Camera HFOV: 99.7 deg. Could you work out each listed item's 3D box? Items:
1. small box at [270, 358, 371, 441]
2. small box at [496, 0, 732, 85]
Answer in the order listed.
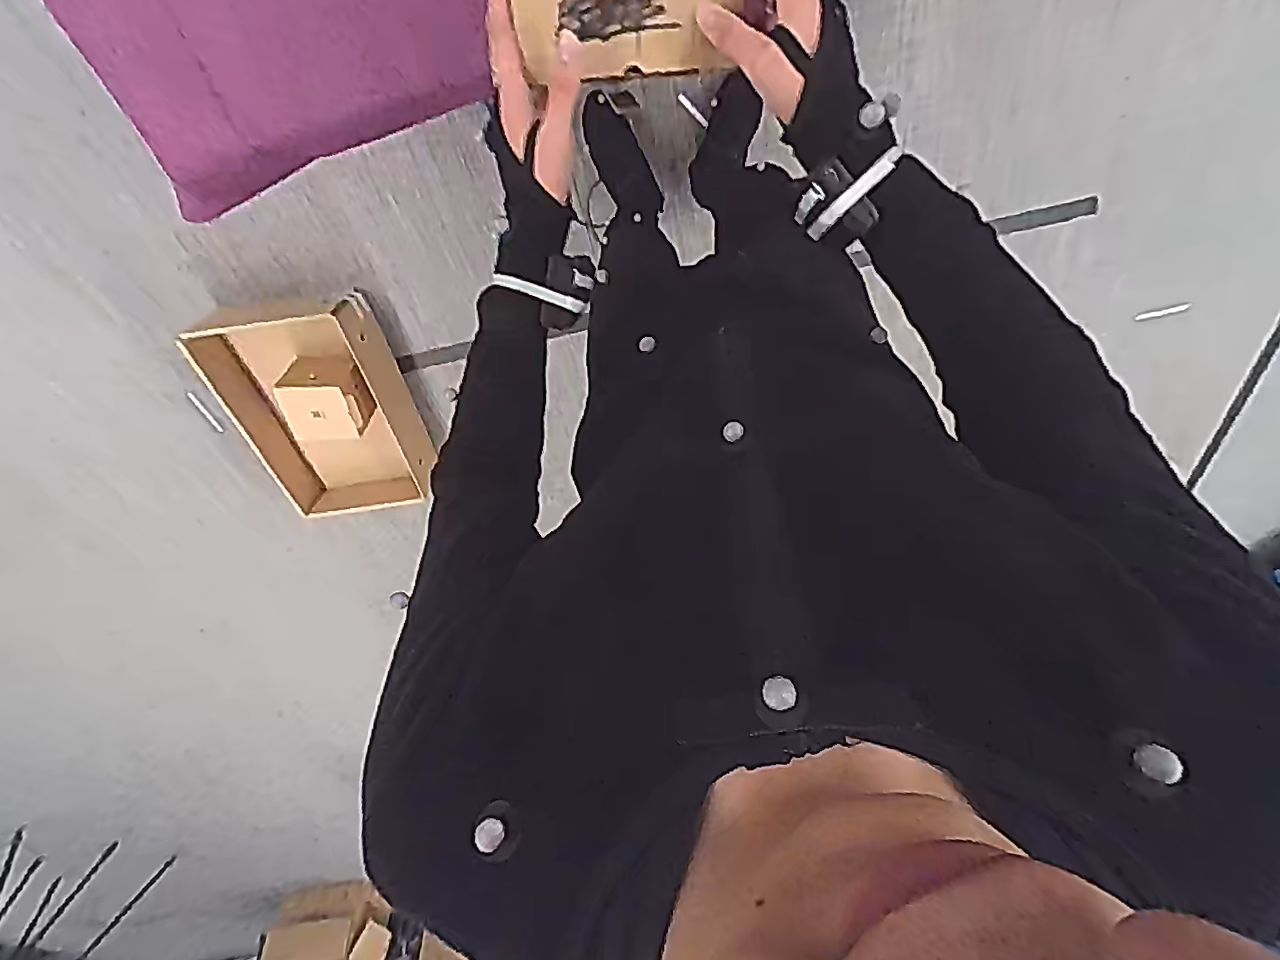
[{"bbox_3d":[-0.858,-0.223,1.479,0.179,0.176,0.168,-2,130,-4],"label":"small box"},{"bbox_3d":[-0.030,-0.413,0.400,0.168,0.176,0.179,-9,130,-5],"label":"small box"}]
